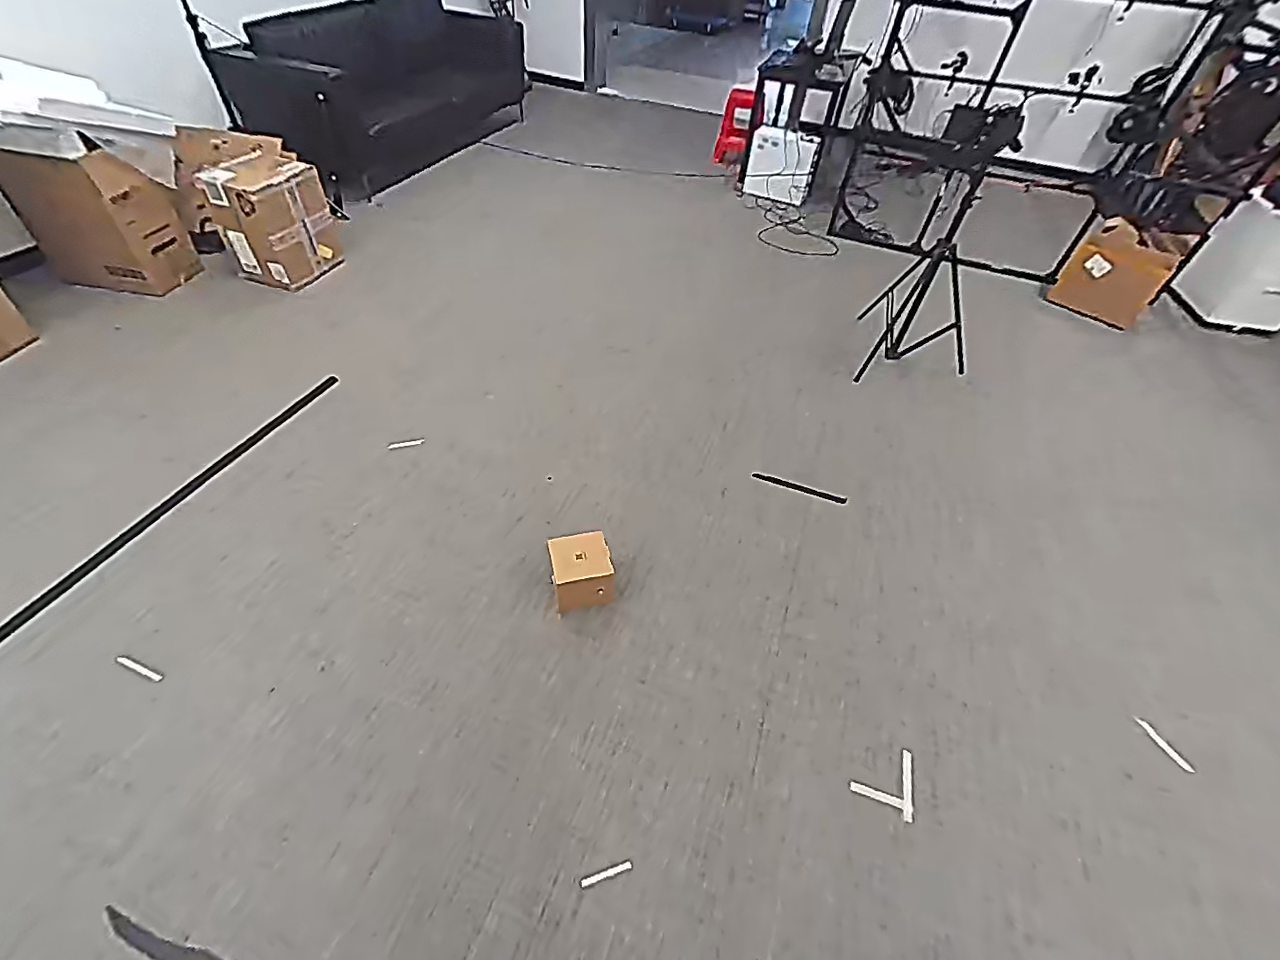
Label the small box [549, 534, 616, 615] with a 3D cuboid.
[{"bbox_3d":[-0.179,0.292,1.672,0.179,0.176,0.168,-10,48,-13],"label":"small box"}]
